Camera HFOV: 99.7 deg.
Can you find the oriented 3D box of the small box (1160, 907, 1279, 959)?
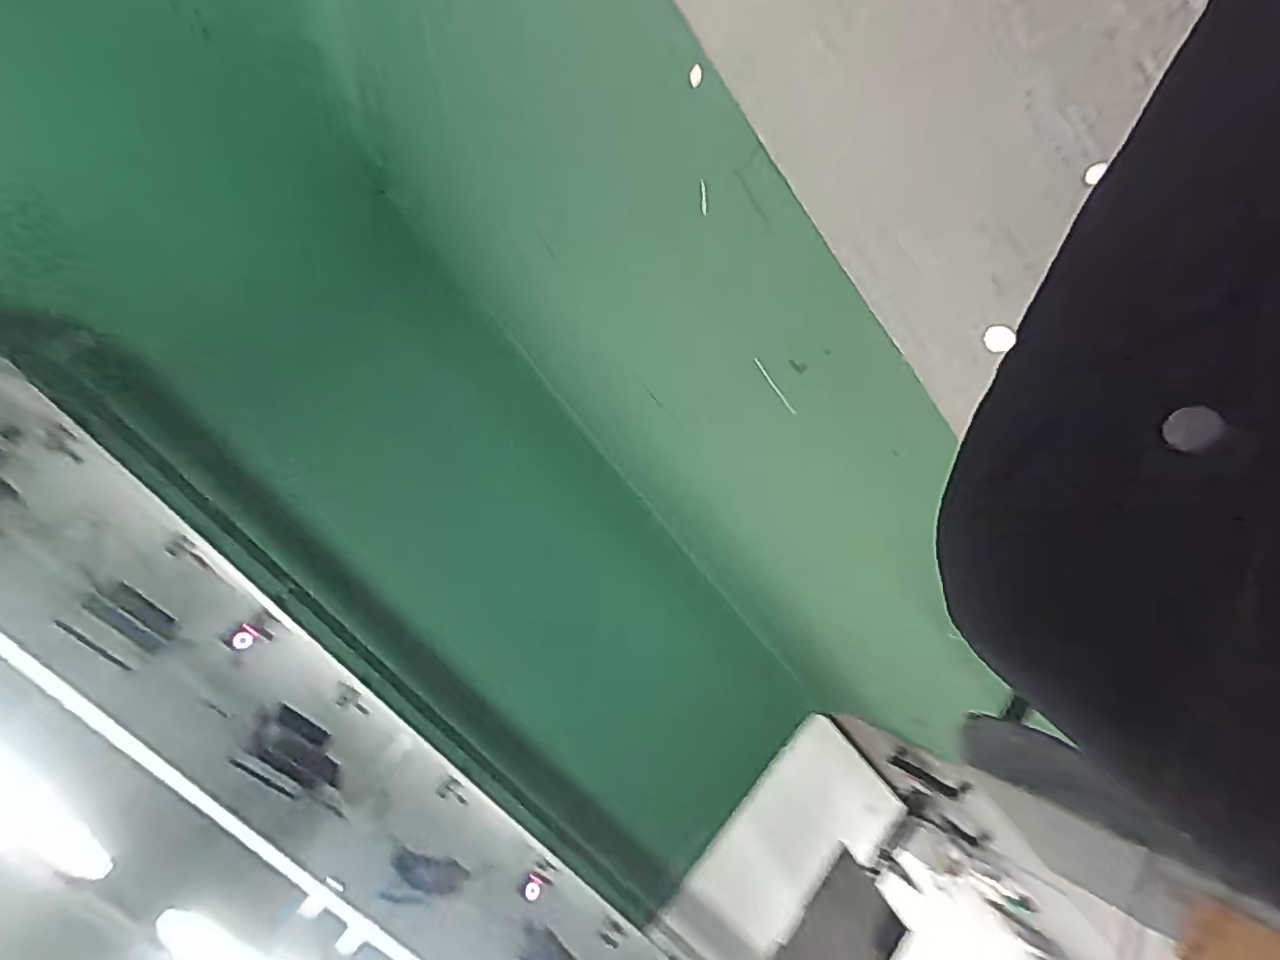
[{"bbox_3d":[1.348,1.123,1.226,0.168,0.176,0.179,50,161,-15],"label":"small box"}]
